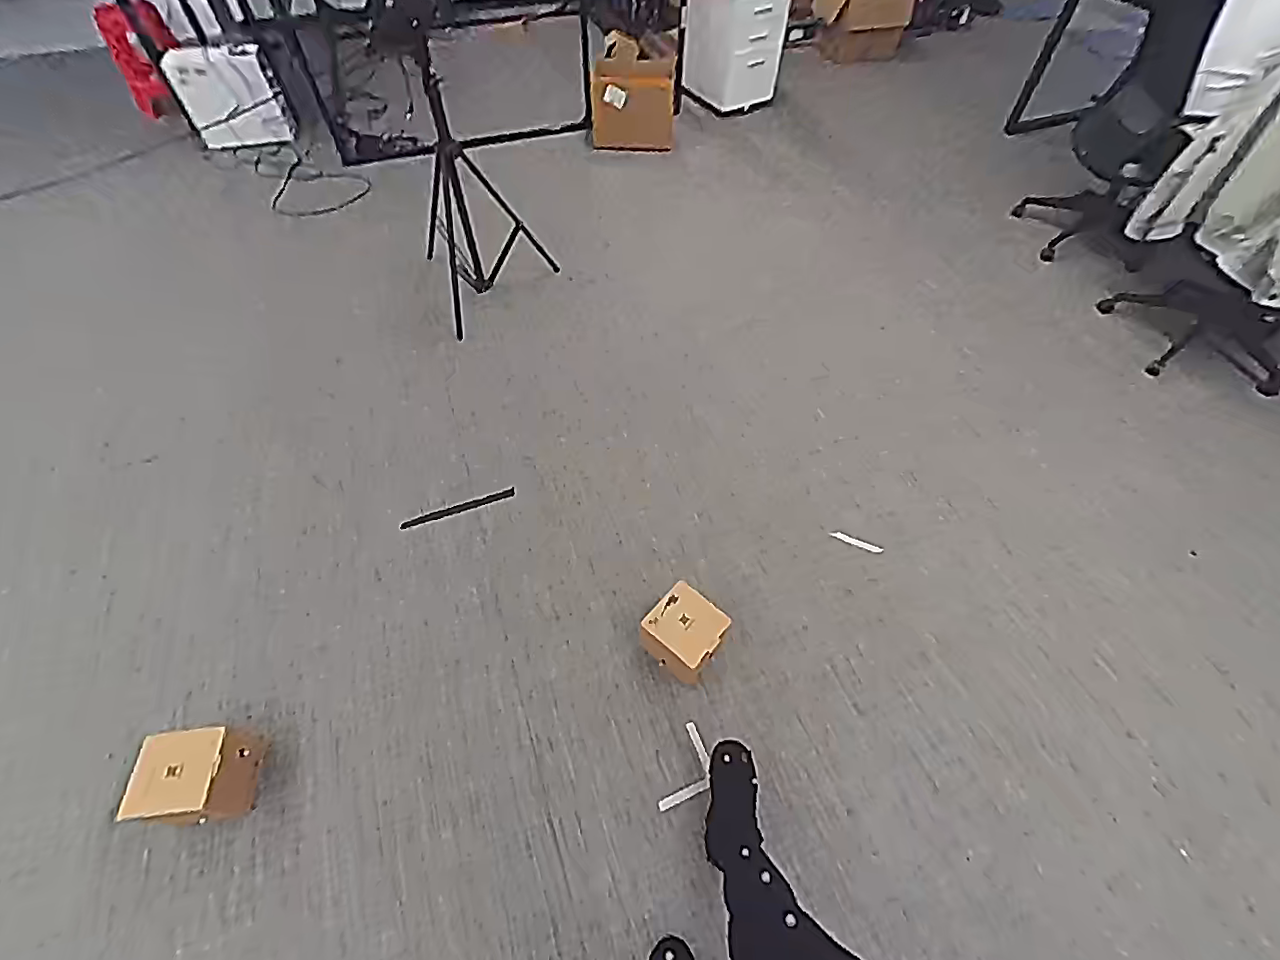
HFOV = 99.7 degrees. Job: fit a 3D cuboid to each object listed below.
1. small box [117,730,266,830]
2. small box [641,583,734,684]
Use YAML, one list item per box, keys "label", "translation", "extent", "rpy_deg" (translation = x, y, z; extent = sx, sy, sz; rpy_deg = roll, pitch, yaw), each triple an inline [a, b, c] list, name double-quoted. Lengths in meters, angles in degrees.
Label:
- label: "small box"
  translation: [-0.994, 0.678, 1.220]
  extent: [0.179, 0.176, 0.168]
  rpy_deg: [-6, 53, -4]
- label: "small box"
  translation: [0.119, 0.409, 1.418]
  extent: [0.179, 0.176, 0.168]
  rpy_deg: [37, 62, 22]
